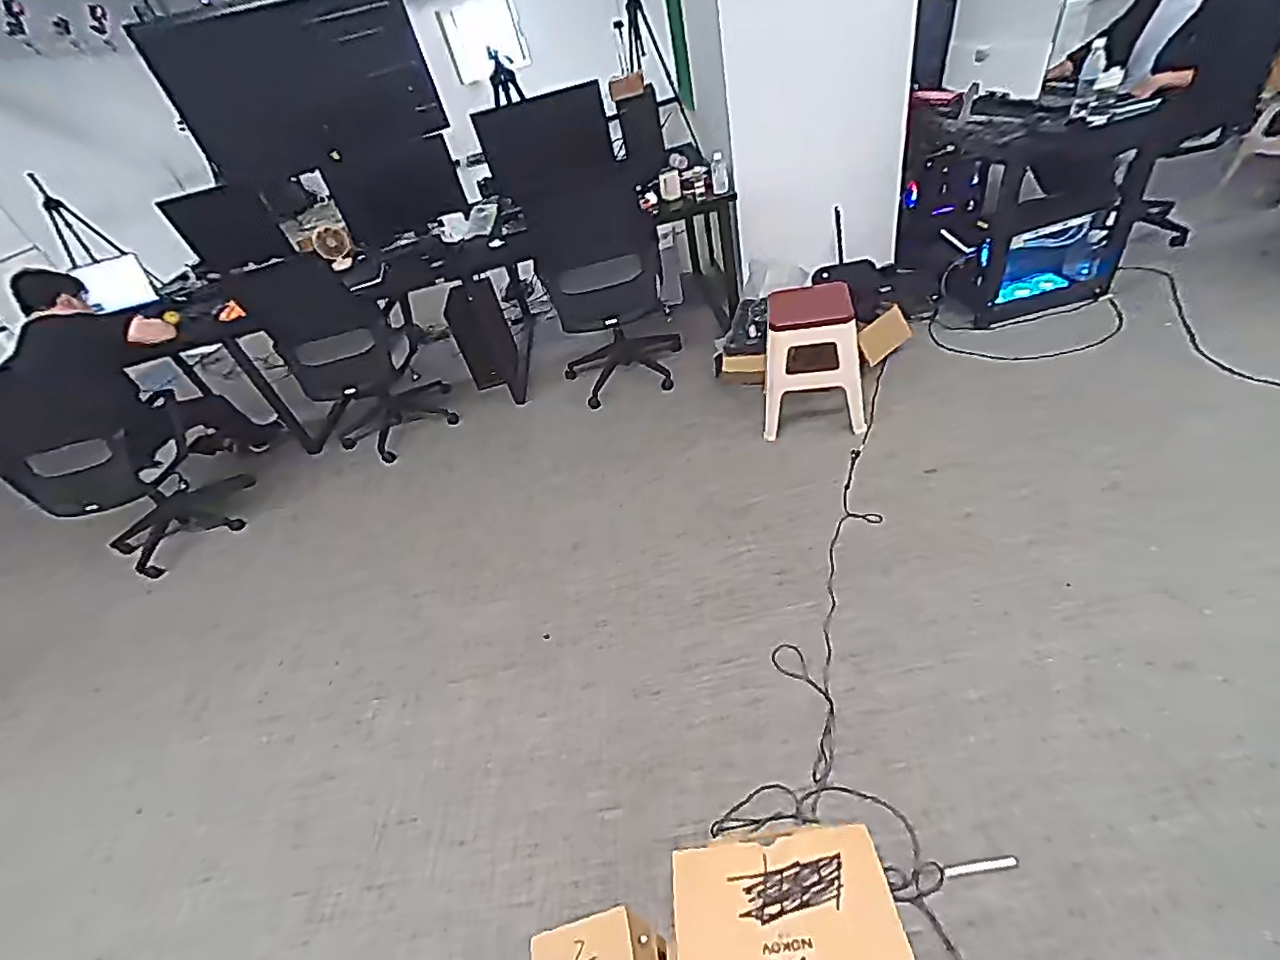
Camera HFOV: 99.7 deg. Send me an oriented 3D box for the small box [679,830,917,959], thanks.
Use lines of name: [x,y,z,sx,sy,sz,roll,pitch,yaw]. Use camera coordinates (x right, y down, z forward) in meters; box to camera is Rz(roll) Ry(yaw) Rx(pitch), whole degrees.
small box: [0.128,0.411,0.408,0.168,0.176,0.179,-13,24,7]
